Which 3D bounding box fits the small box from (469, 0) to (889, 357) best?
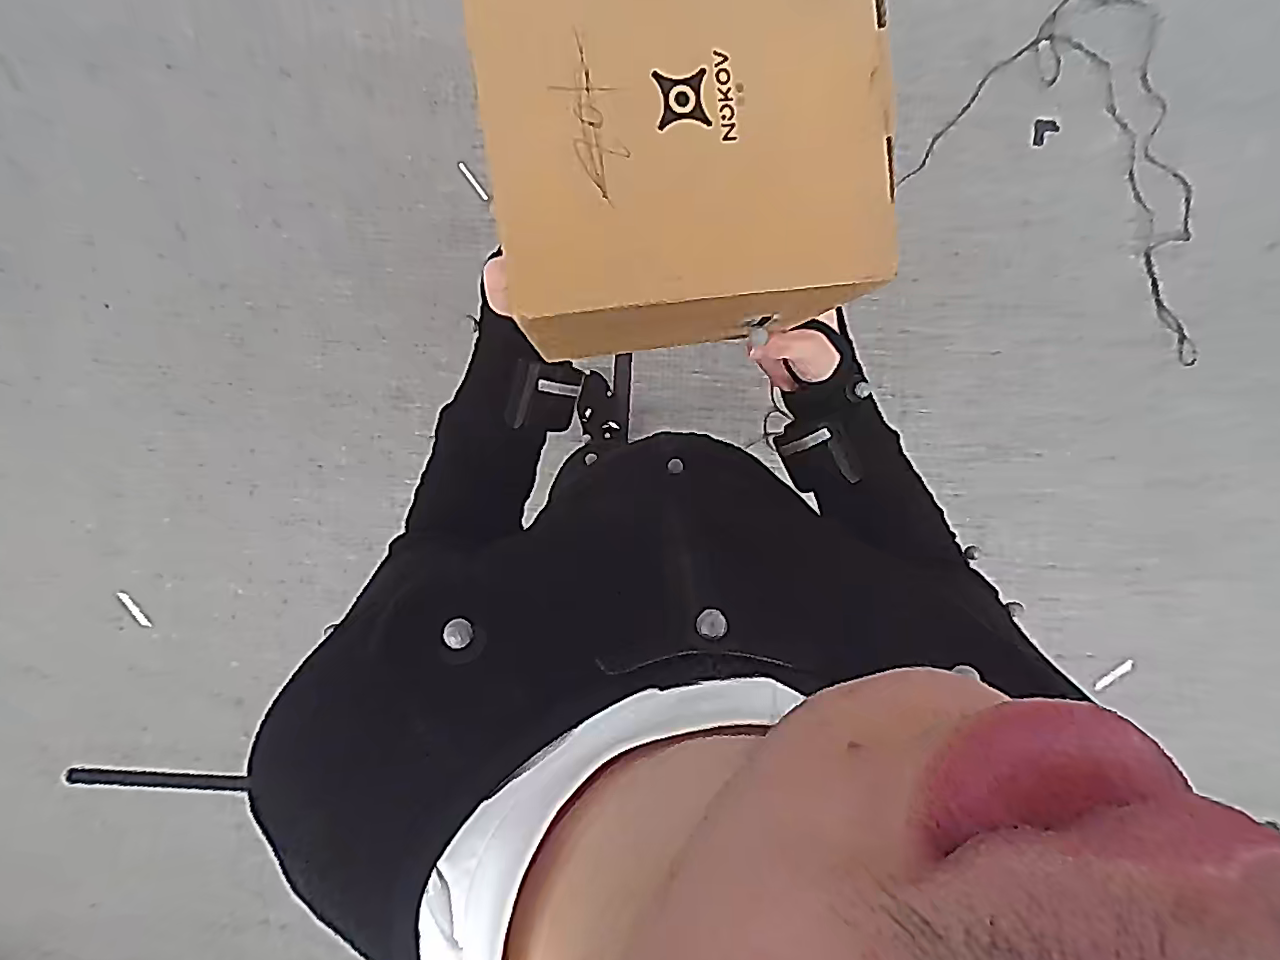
[{"bbox_3d":[0.013,-0.173,0.316,0.179,0.176,0.168,-9,96,-4],"label":"small box"}]
